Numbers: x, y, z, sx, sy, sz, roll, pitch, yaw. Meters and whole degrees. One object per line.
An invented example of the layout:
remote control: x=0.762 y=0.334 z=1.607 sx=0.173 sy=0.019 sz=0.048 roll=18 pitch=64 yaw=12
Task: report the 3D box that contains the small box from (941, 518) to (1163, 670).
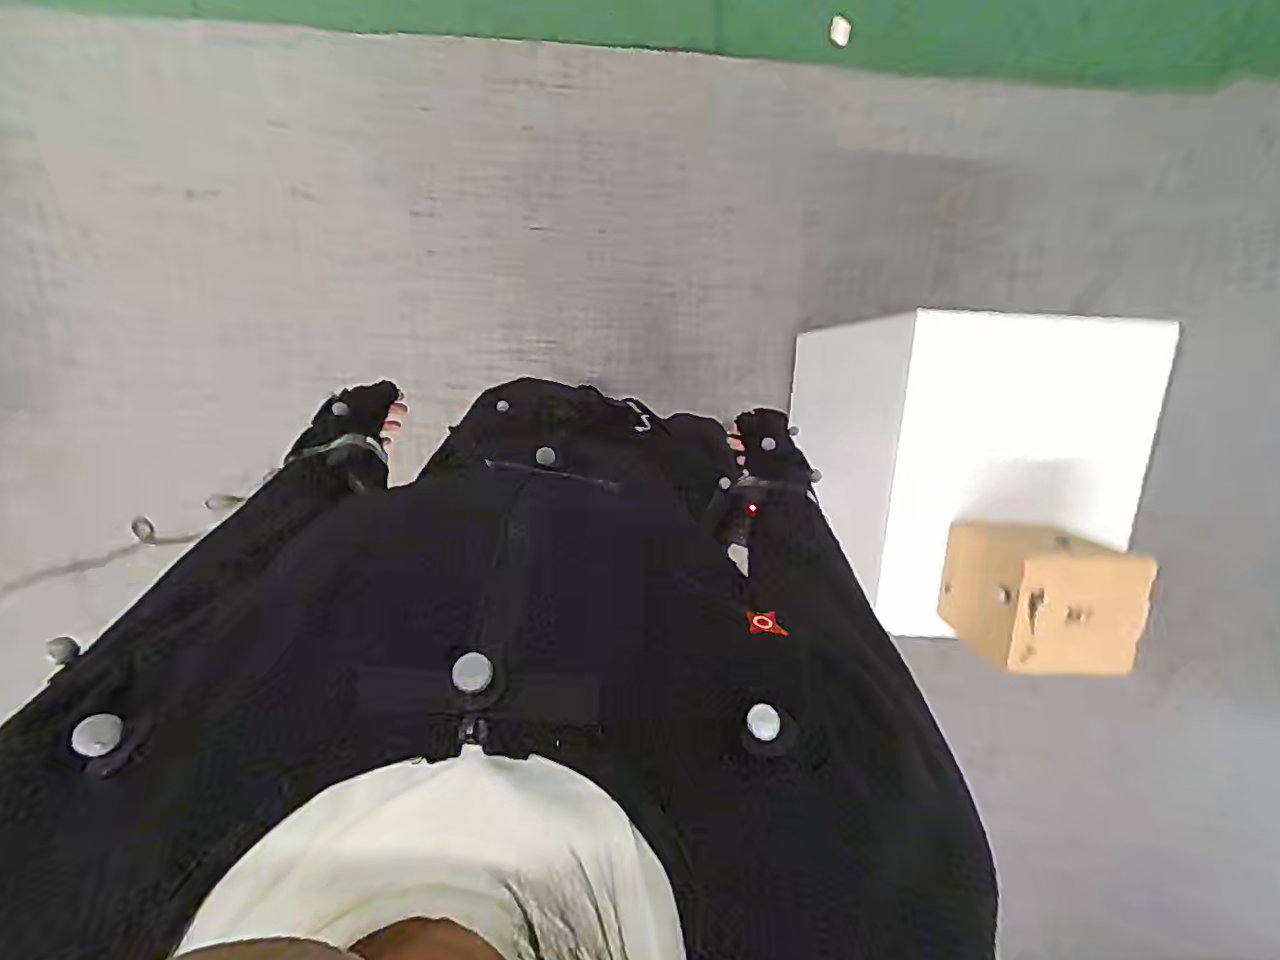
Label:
small box: x=0.580 y=0.156 z=0.785 sx=0.179 sy=0.176 sz=0.168 roll=2 pitch=101 yaw=-2
